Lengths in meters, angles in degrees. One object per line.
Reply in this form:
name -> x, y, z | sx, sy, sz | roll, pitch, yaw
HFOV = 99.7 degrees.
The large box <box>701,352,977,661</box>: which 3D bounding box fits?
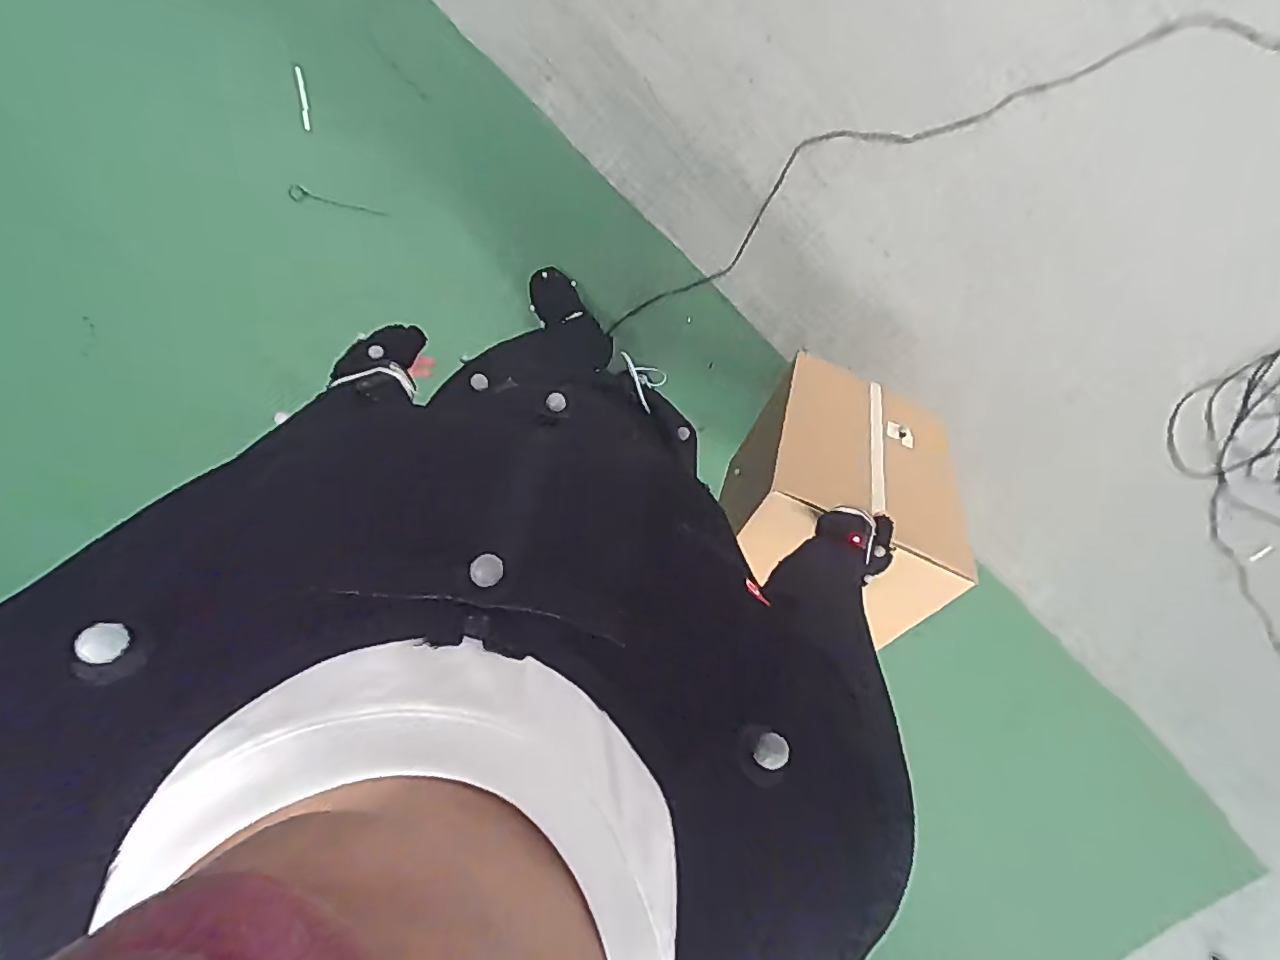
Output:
large box -> 0.337, 0.042, 0.984 | 0.320, 0.408, 0.320 | 25, 135, 0
